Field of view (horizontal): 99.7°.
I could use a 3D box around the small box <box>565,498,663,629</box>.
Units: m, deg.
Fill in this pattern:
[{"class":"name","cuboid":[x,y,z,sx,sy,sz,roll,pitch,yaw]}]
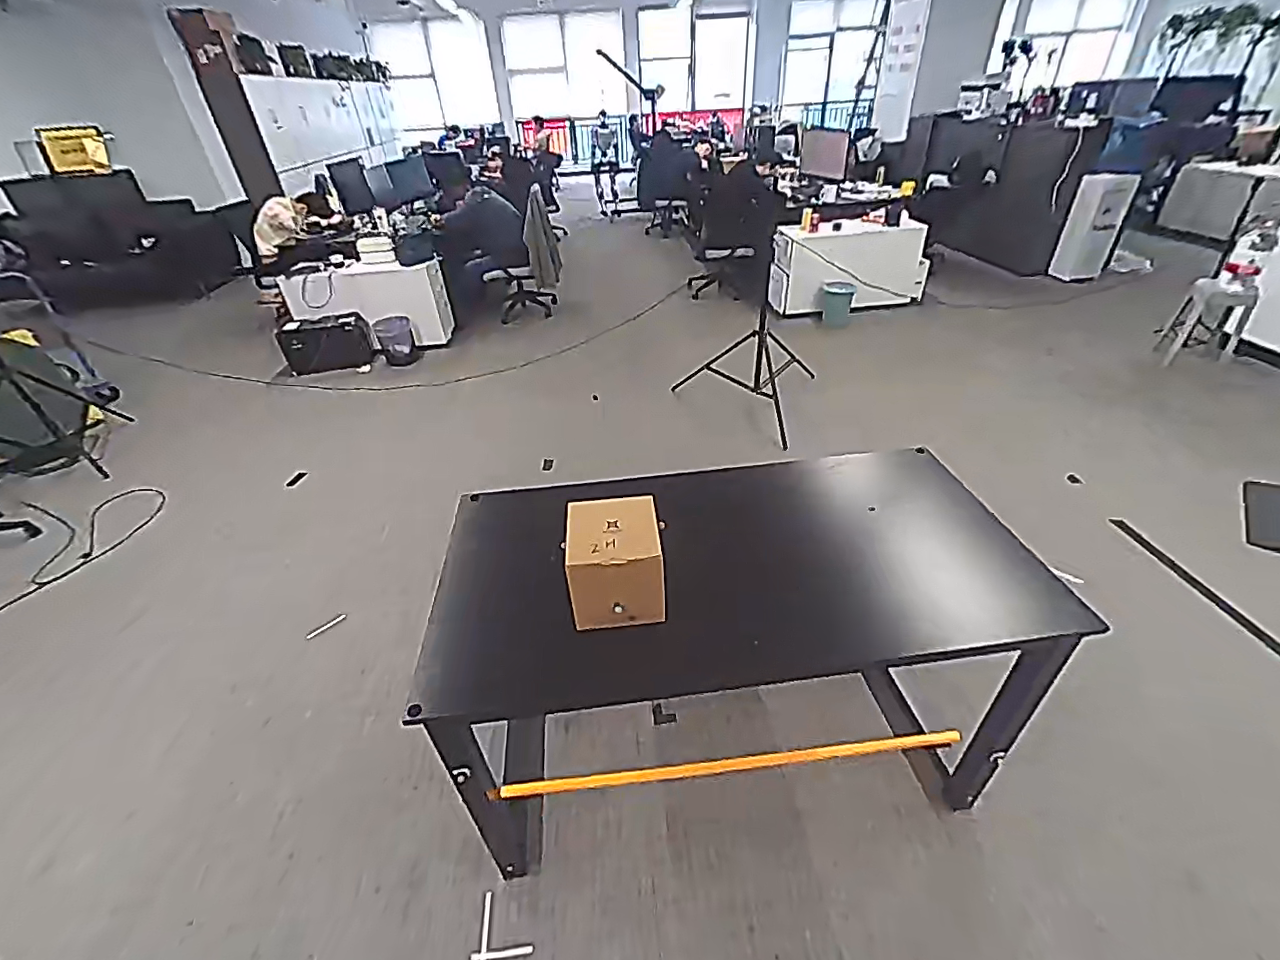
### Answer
[{"class":"small box","cuboid":[-0.047,0.156,1.025,0.168,0.176,0.179,-6,36,-1]}]
